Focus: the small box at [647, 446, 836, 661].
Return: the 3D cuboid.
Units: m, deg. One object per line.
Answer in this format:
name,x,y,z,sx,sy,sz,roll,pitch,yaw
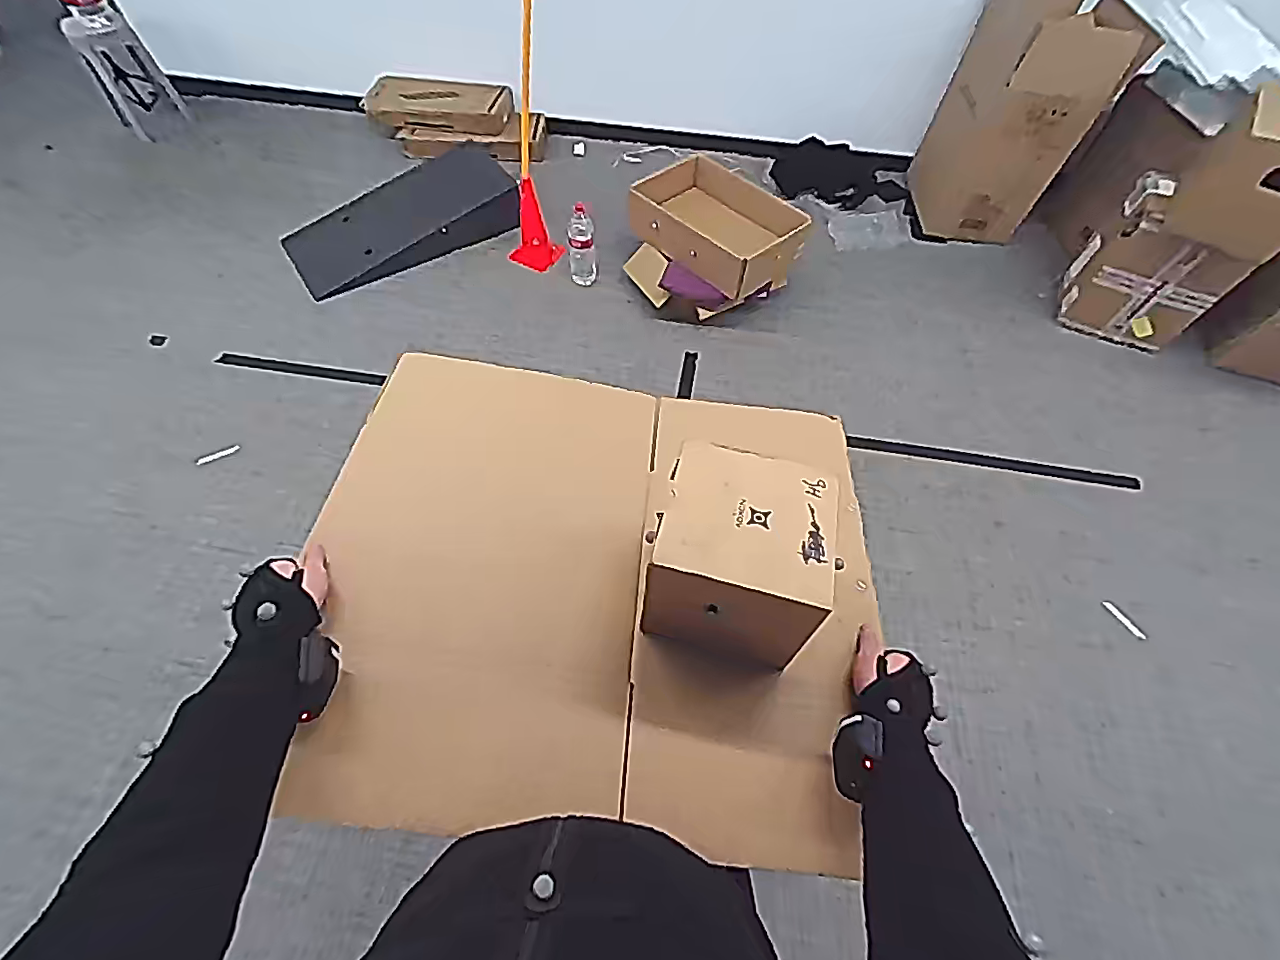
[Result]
small box,0.110,0.089,0.622,0.179,0.176,0.168,13,54,7
